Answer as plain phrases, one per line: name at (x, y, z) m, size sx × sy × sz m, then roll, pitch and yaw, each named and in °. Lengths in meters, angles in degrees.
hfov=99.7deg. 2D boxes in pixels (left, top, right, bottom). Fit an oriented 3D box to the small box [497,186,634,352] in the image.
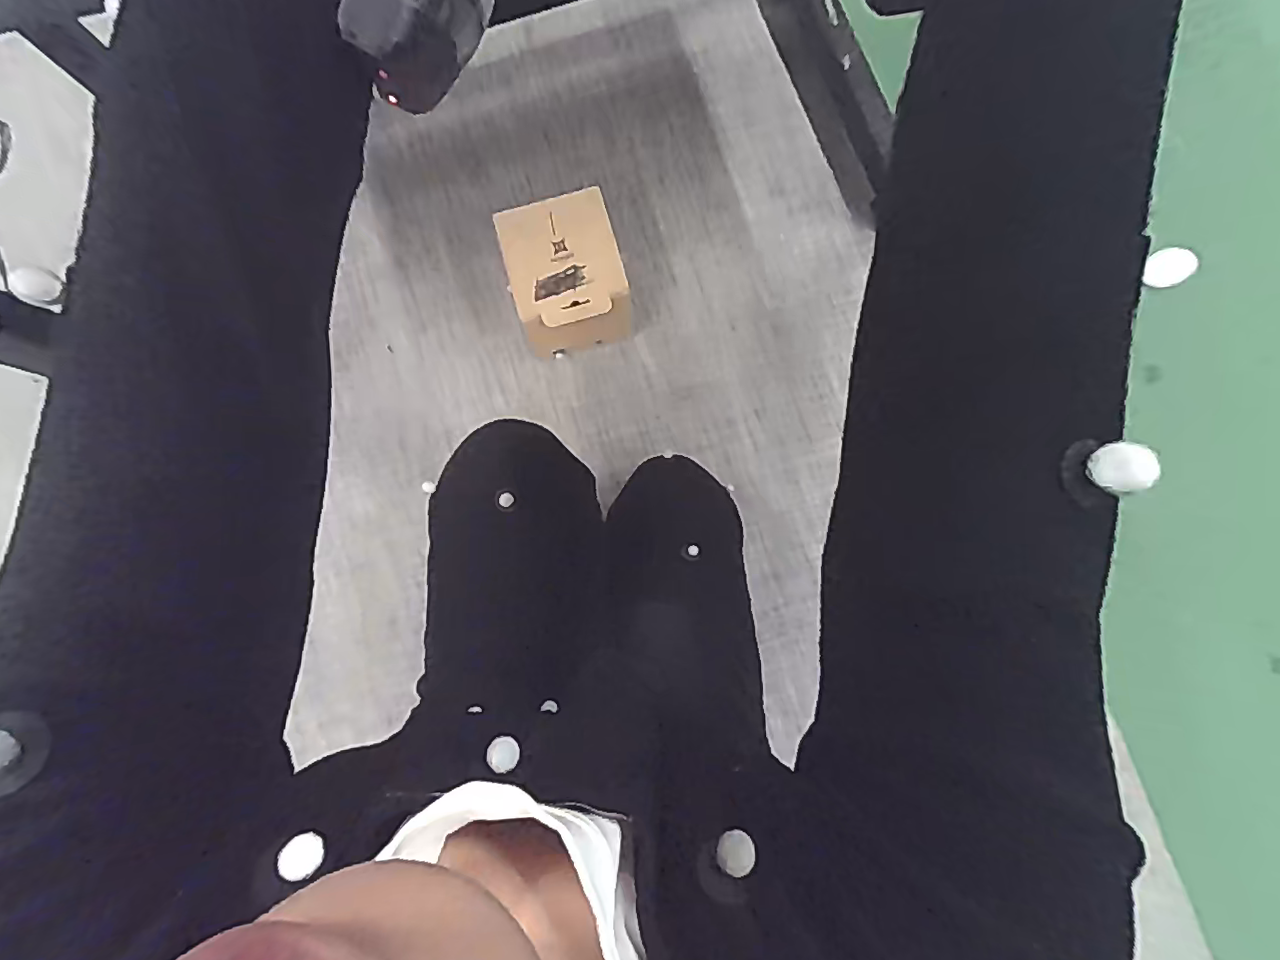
small box at (-0.110, -0.322, 0.868) m, size 0.168 × 0.176 × 0.179 m, roll -16°, pitch 81°, yaw -1°
